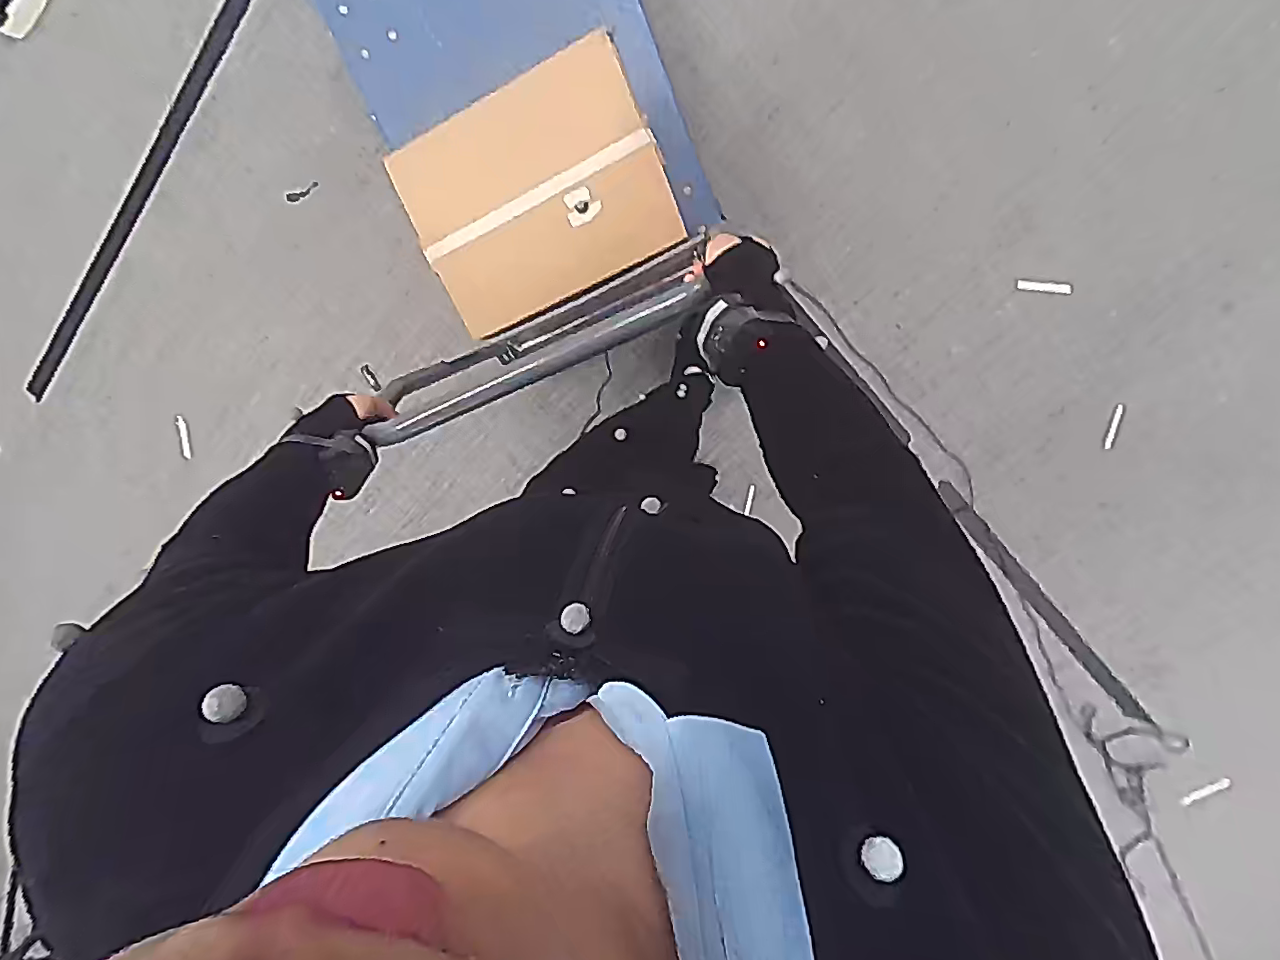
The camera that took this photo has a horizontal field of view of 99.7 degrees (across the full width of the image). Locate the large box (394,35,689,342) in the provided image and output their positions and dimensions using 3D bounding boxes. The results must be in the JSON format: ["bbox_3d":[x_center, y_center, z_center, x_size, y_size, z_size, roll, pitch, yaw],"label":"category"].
[{"bbox_3d":[-0.150,-0.490,1.012,0.408,0.320,0.320,-22,104,12],"label":"large box"}]
